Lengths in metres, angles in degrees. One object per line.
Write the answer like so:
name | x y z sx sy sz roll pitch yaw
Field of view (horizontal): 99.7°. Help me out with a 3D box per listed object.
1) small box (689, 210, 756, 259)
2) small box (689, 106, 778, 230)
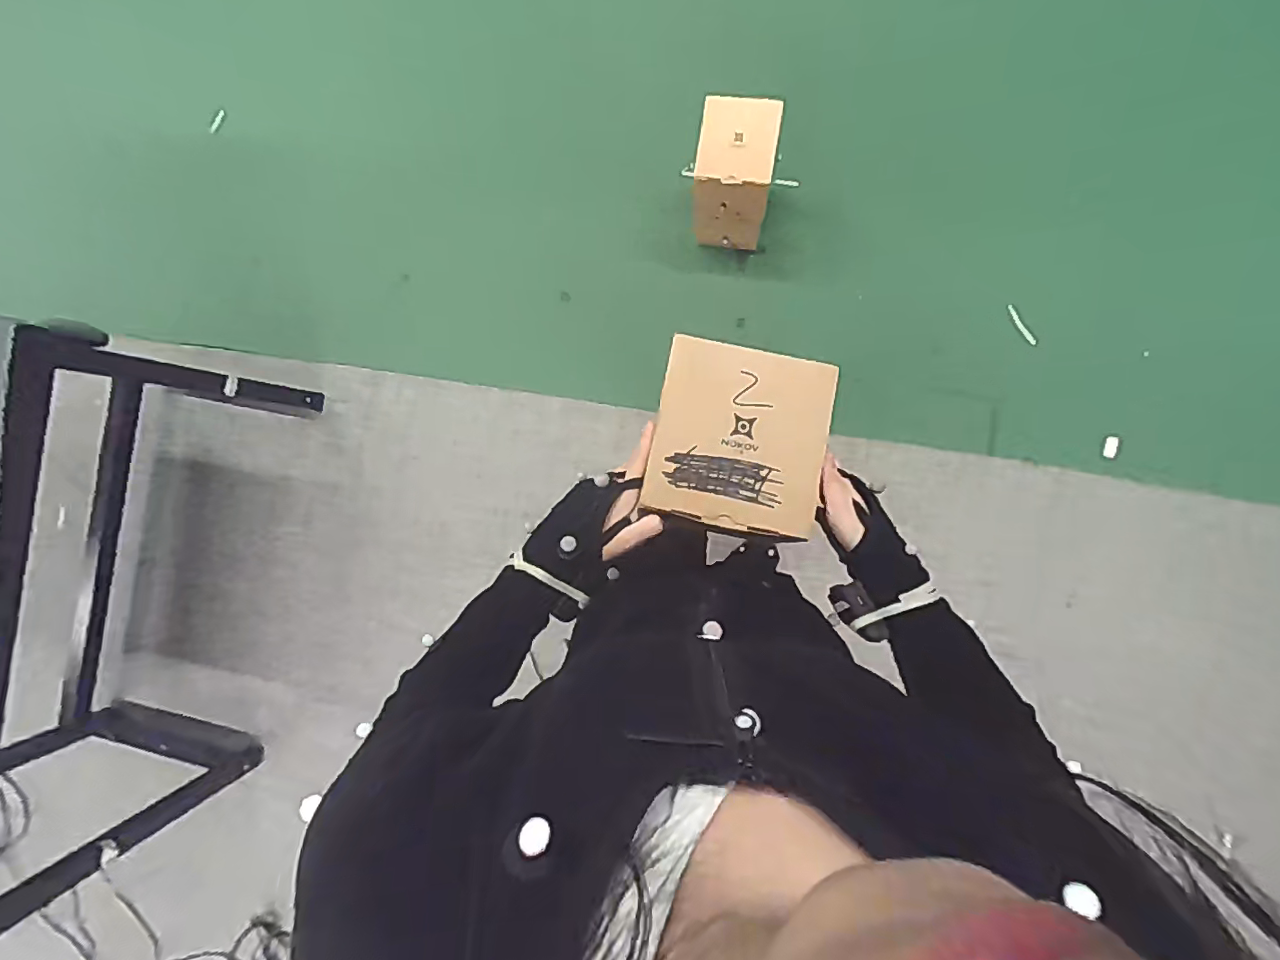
small box | 0.221 -0.695 1.382 0.168 0.176 0.179 10 91 7
small box | 0.204 -0.698 1.221 0.168 0.176 0.179 9 91 6
